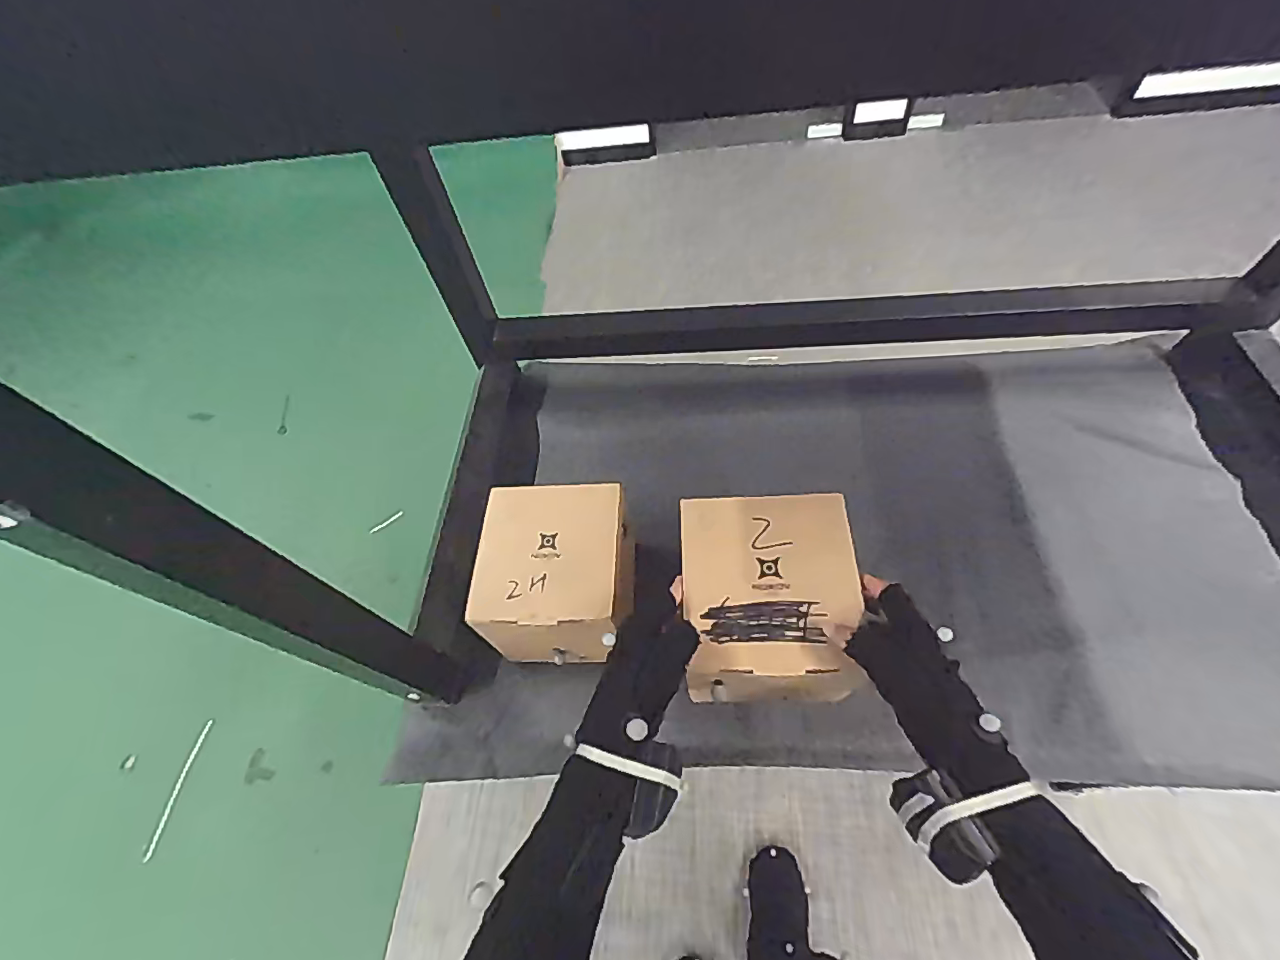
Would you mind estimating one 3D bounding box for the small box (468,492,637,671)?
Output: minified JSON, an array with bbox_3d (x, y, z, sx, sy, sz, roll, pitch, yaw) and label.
[{"bbox_3d":[-0.096,0.132,0.691,0.168,0.176,0.179,-2,56,6],"label":"small box"}]
